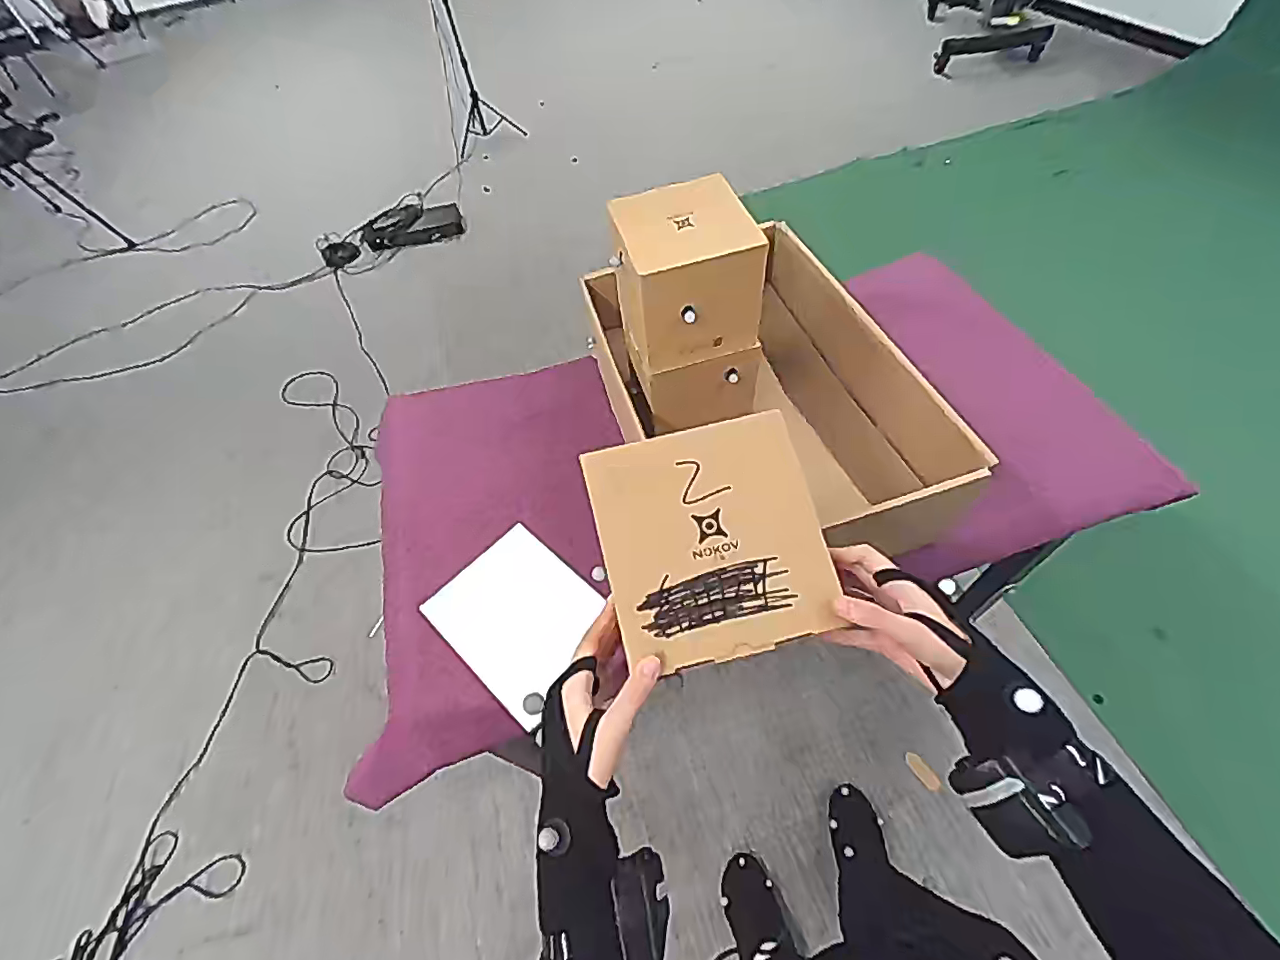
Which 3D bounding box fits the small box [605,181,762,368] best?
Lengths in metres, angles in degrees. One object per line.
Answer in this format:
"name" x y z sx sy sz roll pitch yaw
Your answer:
"small box" 0.059 -0.279 0.760 0.168 0.176 0.179 -16 55 -4
